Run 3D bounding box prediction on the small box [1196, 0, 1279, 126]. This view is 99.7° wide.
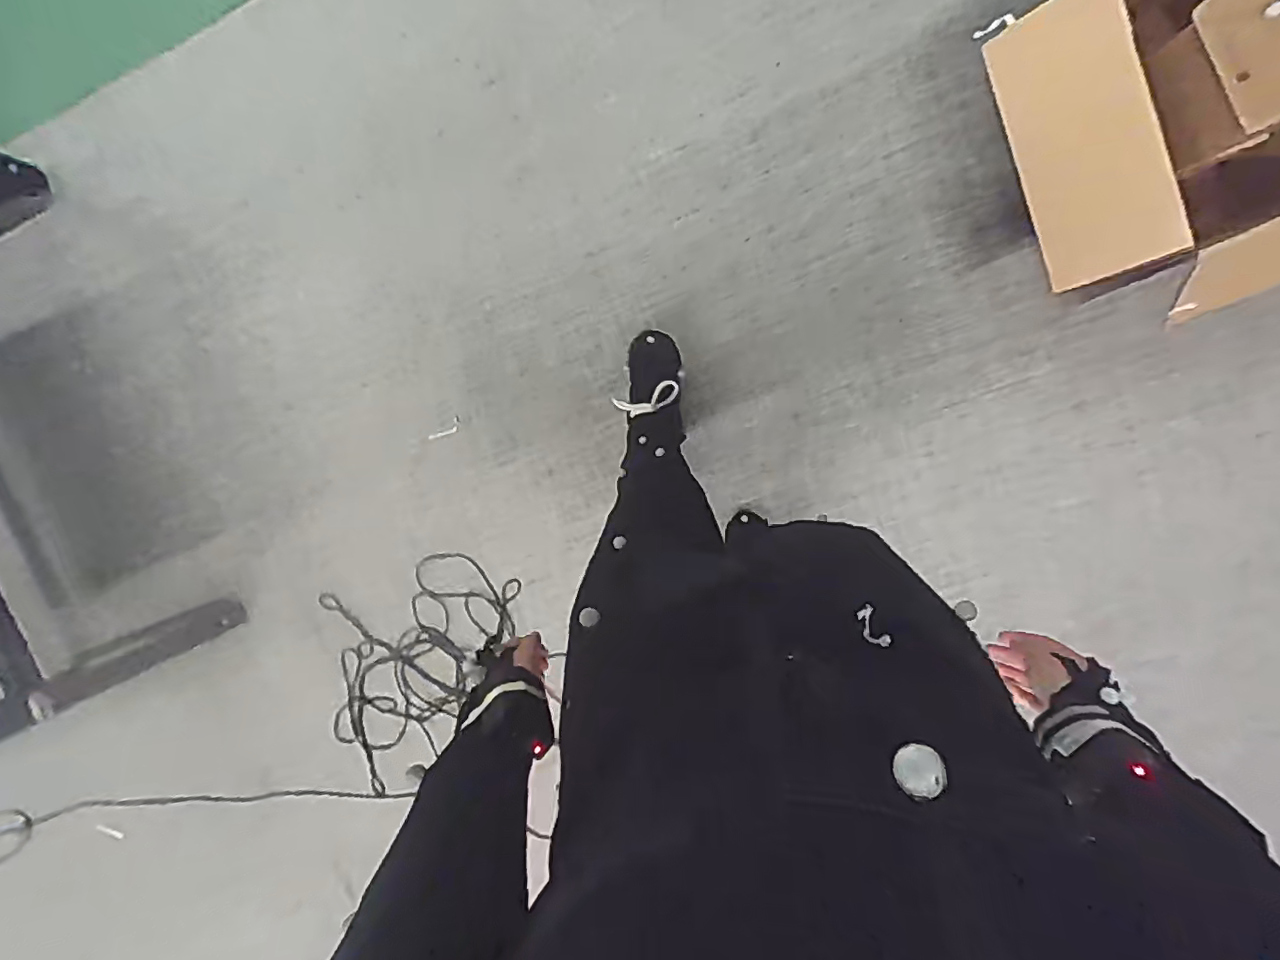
[{"bbox_3d":[0.790,-0.546,0.600,0.179,0.176,0.168,-28,92,8],"label":"small box"}]
